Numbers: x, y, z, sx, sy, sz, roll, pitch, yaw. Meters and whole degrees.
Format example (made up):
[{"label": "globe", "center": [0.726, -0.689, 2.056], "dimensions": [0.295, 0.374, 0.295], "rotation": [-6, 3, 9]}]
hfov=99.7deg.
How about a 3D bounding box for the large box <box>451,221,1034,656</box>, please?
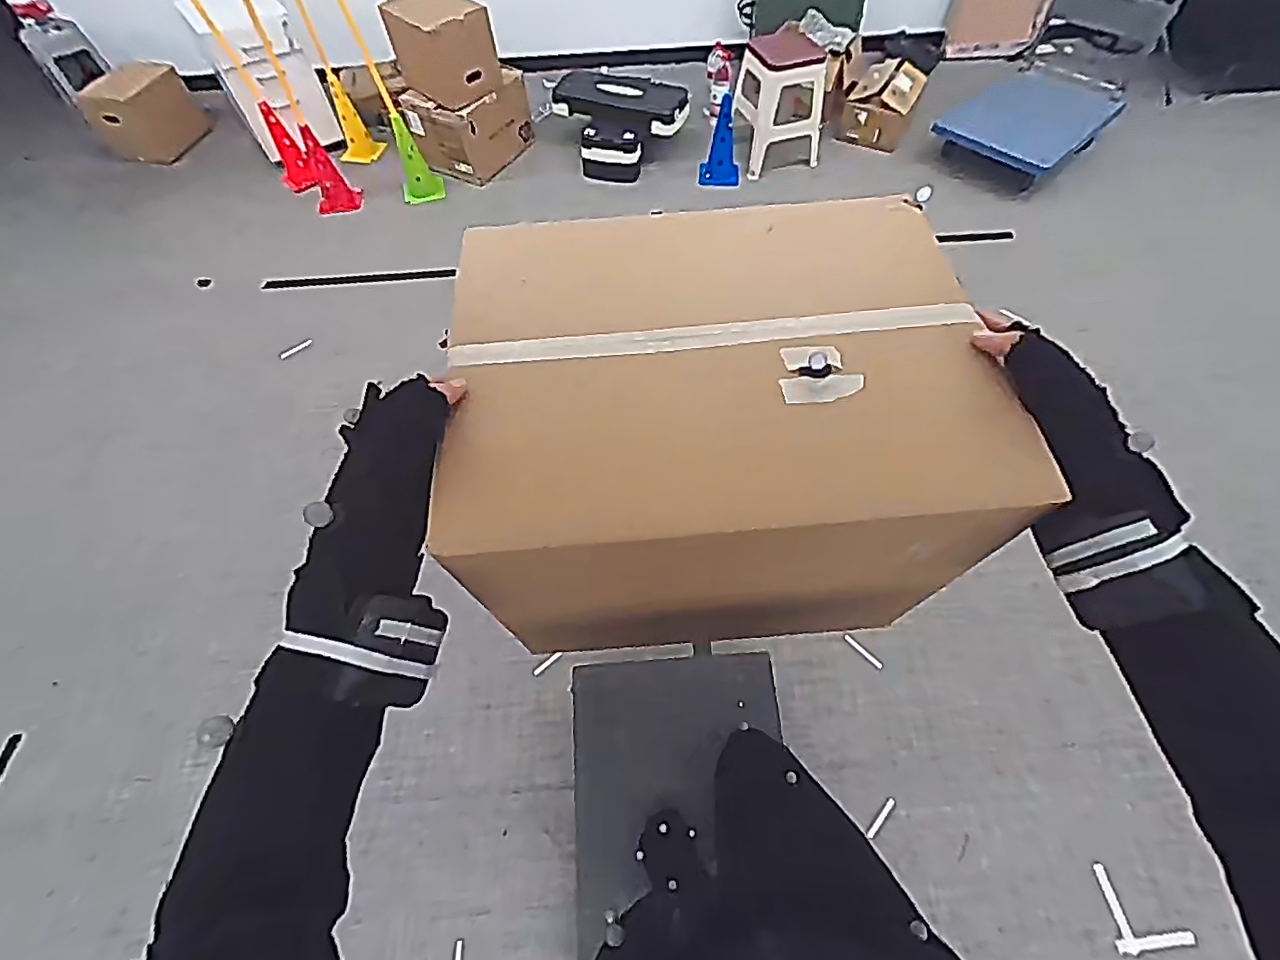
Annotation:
[{"label": "large box", "center": [0.060, -0.023, 0.561], "dimensions": [0.408, 0.320, 0.320], "rotation": [-5, 61, -1]}]
